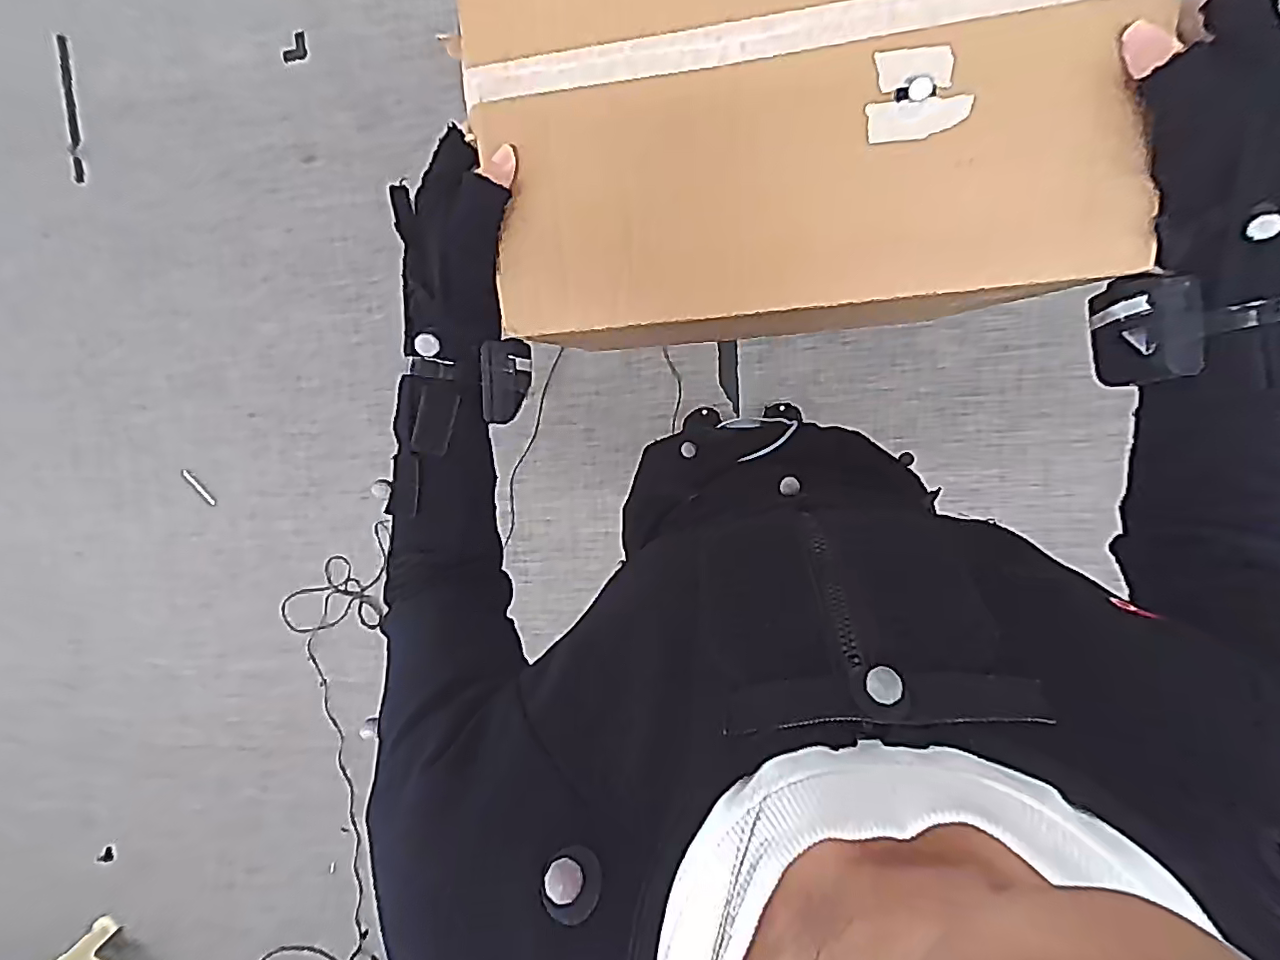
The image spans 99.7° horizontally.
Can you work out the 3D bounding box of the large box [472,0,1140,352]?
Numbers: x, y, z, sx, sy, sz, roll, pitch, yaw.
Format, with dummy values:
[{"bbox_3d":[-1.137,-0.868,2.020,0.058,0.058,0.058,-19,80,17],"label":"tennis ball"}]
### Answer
[{"bbox_3d":[0.106,-0.299,0.482,0.408,0.320,0.320,-4,101,7],"label":"large box"}]
